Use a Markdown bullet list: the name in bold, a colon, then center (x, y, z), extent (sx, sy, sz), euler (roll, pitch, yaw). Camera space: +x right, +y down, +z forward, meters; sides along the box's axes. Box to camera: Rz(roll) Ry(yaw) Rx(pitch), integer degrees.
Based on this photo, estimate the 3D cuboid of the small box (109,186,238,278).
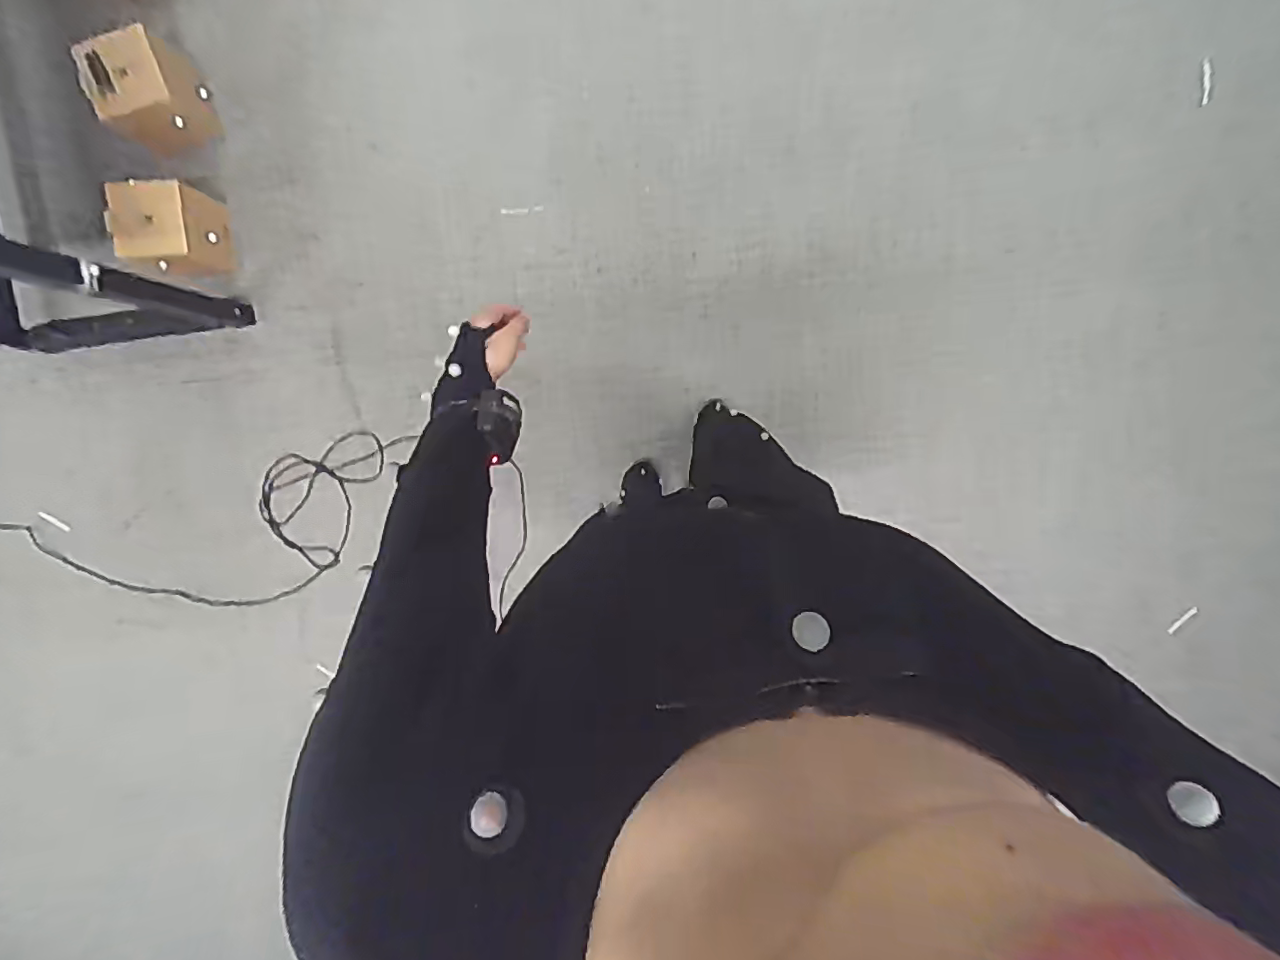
- **small box**: center (-1.134, -0.606, 1.333), extent (0.179, 0.176, 0.168), euler (-3, 97, 1)
